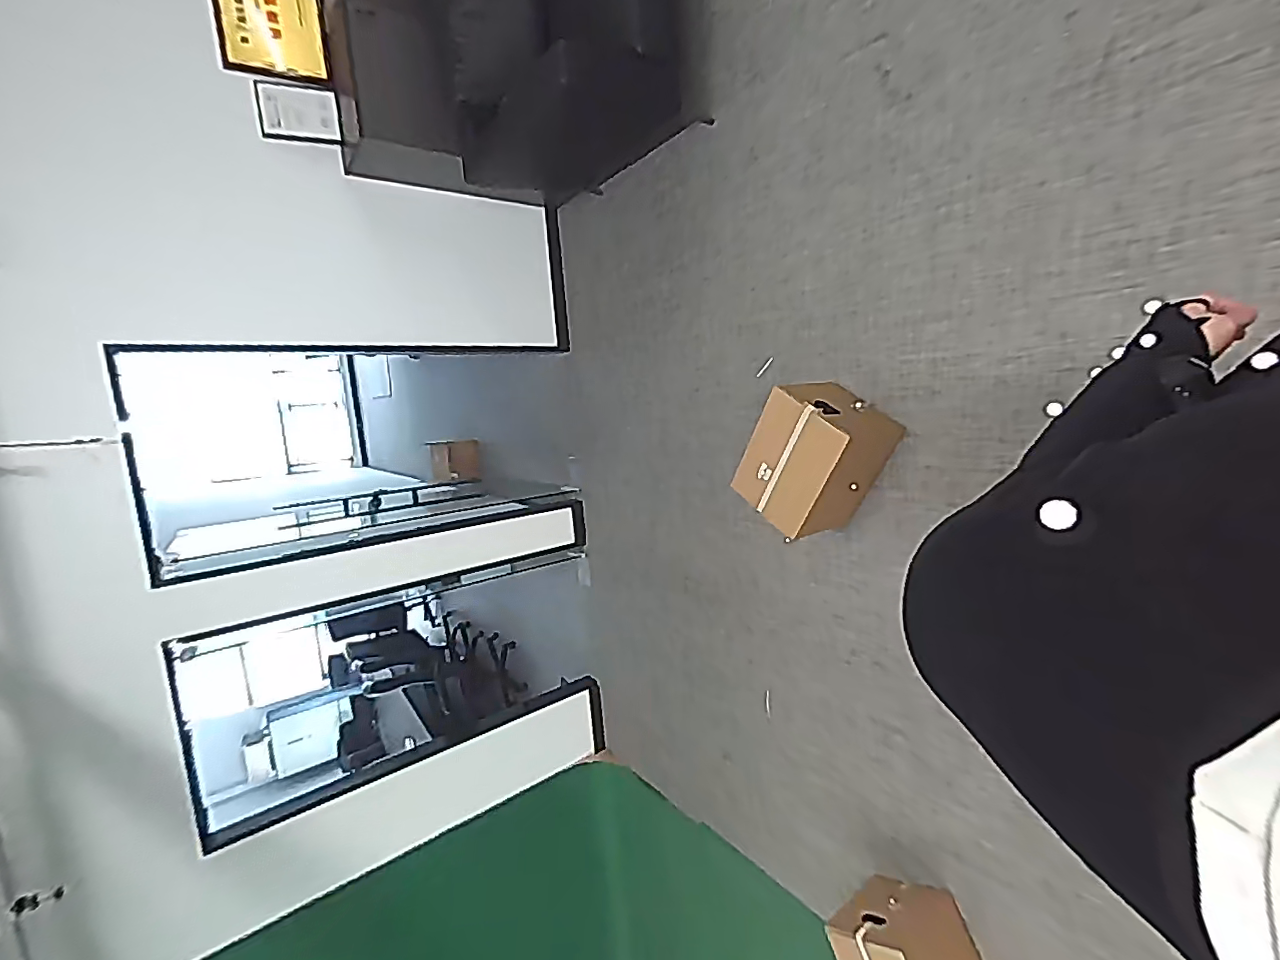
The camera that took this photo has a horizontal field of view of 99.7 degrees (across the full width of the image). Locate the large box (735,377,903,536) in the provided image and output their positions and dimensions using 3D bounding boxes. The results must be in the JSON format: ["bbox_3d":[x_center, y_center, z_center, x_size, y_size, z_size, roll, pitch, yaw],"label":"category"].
[{"bbox_3d":[0.582,-0.089,1.796,0.320,0.320,0.408,47,134,38],"label":"large box"}]
